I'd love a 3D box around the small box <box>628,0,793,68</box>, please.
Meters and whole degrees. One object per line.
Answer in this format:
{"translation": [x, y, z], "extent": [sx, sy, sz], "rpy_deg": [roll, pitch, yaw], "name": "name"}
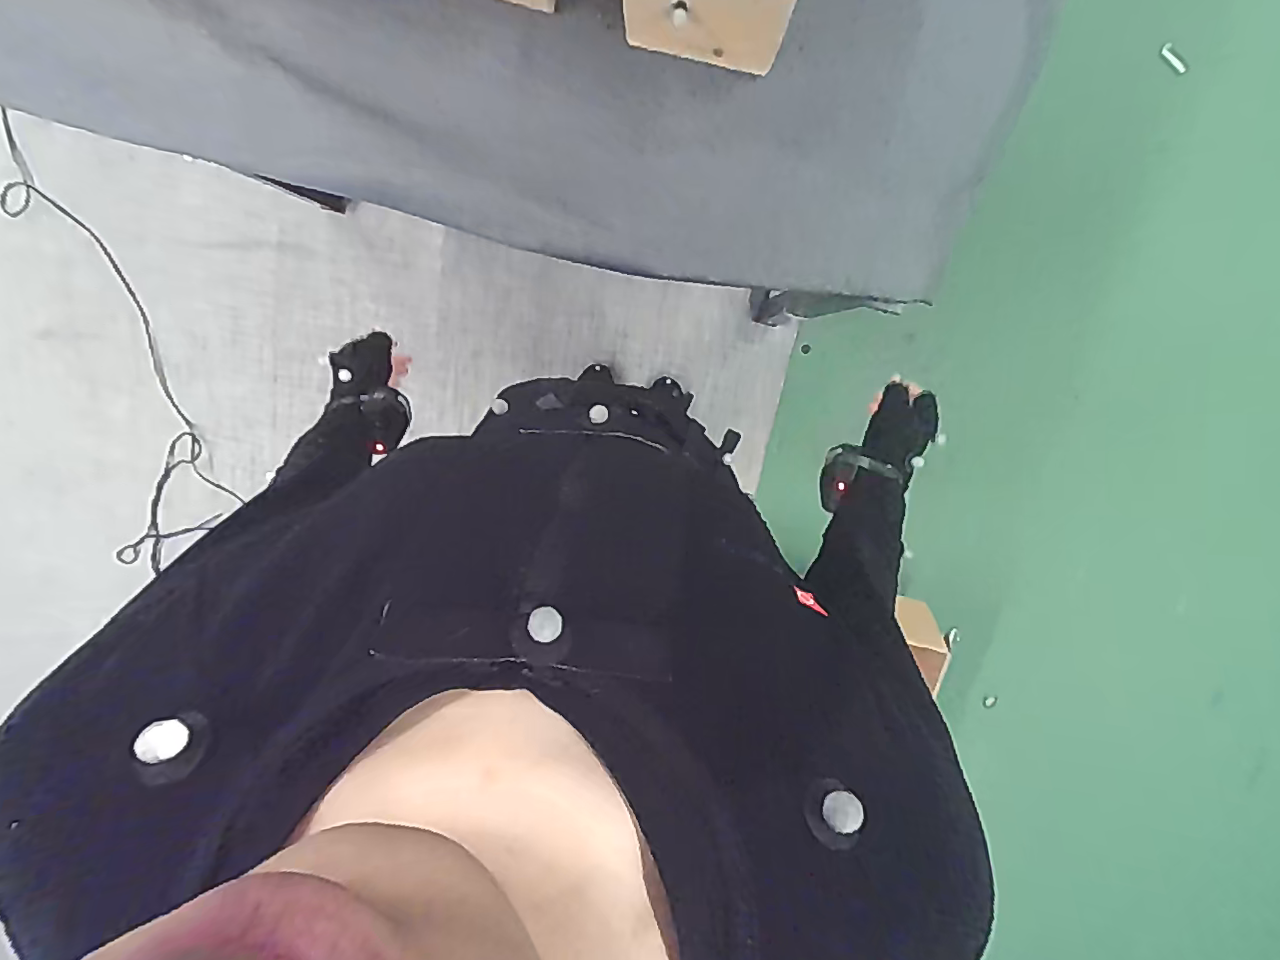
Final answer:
{"translation": [0.082, -0.541, 0.516], "extent": [0.168, 0.176, 0.179], "rpy_deg": [12, 103, -1], "name": "small box"}
